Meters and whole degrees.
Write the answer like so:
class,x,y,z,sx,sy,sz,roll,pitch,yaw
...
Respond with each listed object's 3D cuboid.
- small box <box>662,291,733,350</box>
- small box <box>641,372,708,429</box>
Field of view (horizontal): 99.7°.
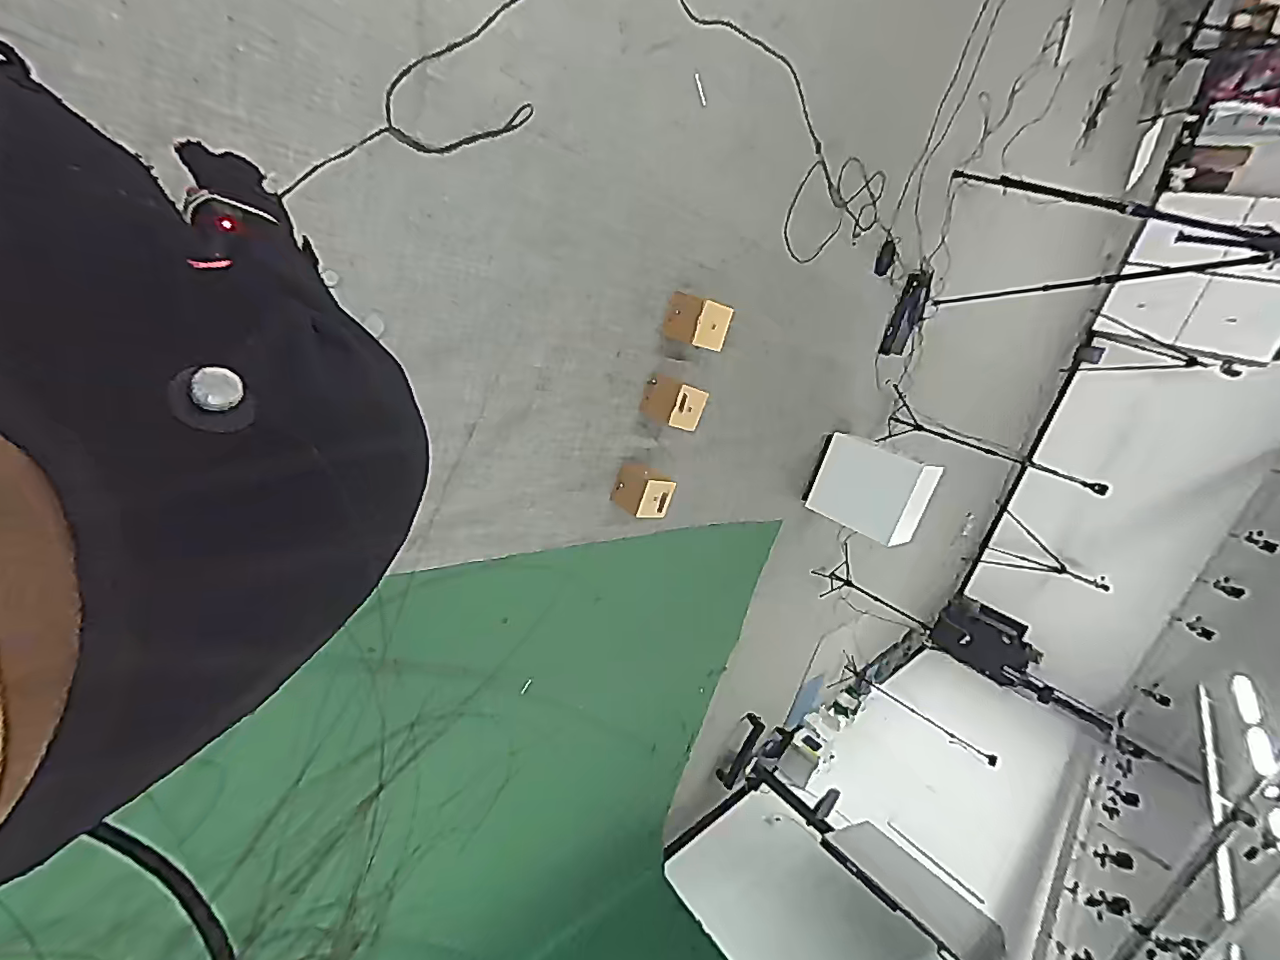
class,x,y,z,sx,sy,sz,roll,pitch,yaw
small box,0.214,-0.604,2.041,0.179,0.176,0.168,-1,114,-45
small box,0.131,-0.316,2.136,0.179,0.176,0.168,6,110,-49
